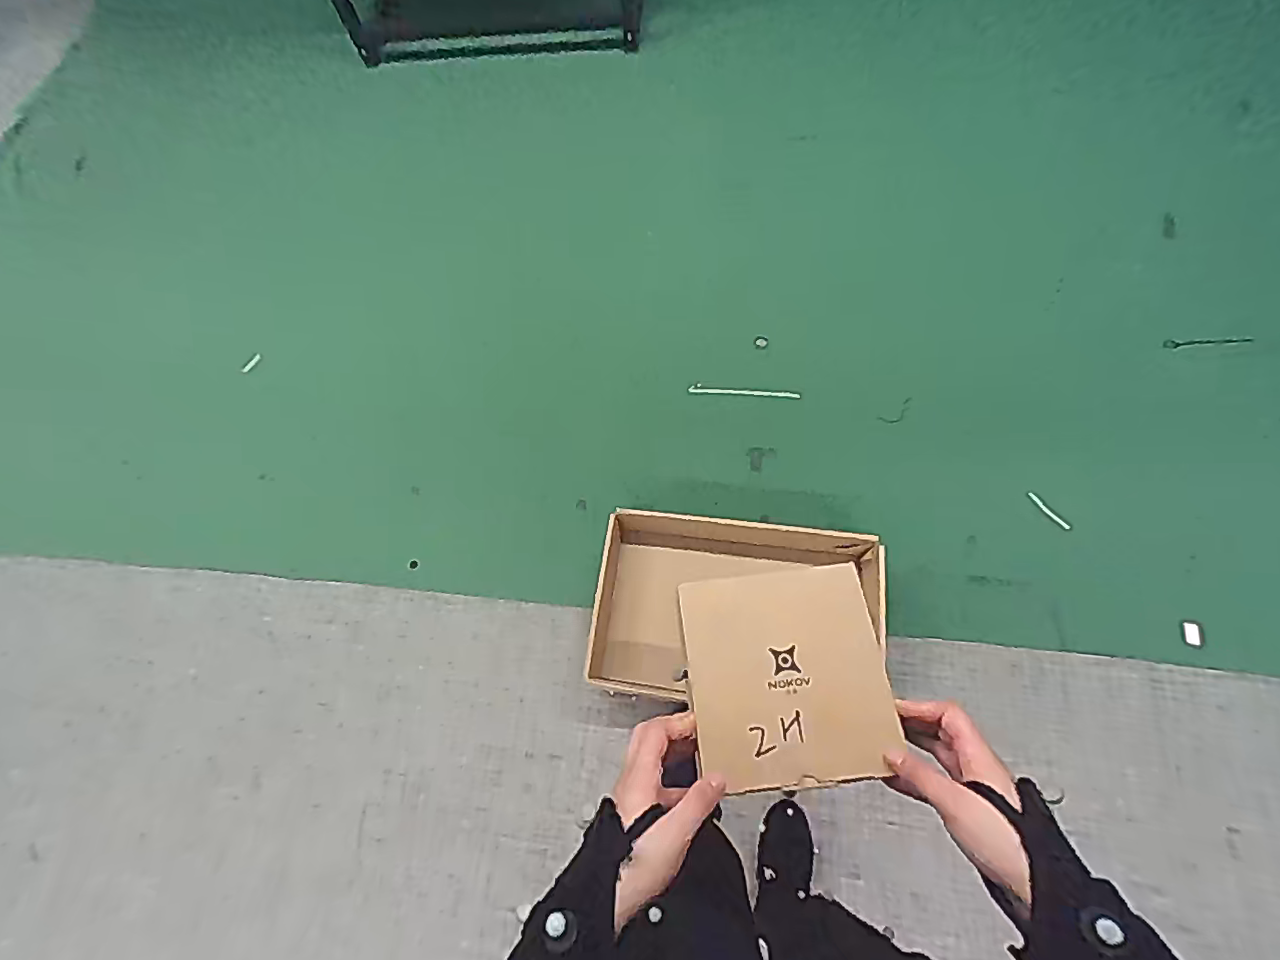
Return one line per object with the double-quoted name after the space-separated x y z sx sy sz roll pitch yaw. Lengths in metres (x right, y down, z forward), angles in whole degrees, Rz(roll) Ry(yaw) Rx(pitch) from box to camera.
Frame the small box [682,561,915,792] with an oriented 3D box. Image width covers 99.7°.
0.131 0.194 0.528 0.168 0.176 0.179 -7 64 2 "small box"
